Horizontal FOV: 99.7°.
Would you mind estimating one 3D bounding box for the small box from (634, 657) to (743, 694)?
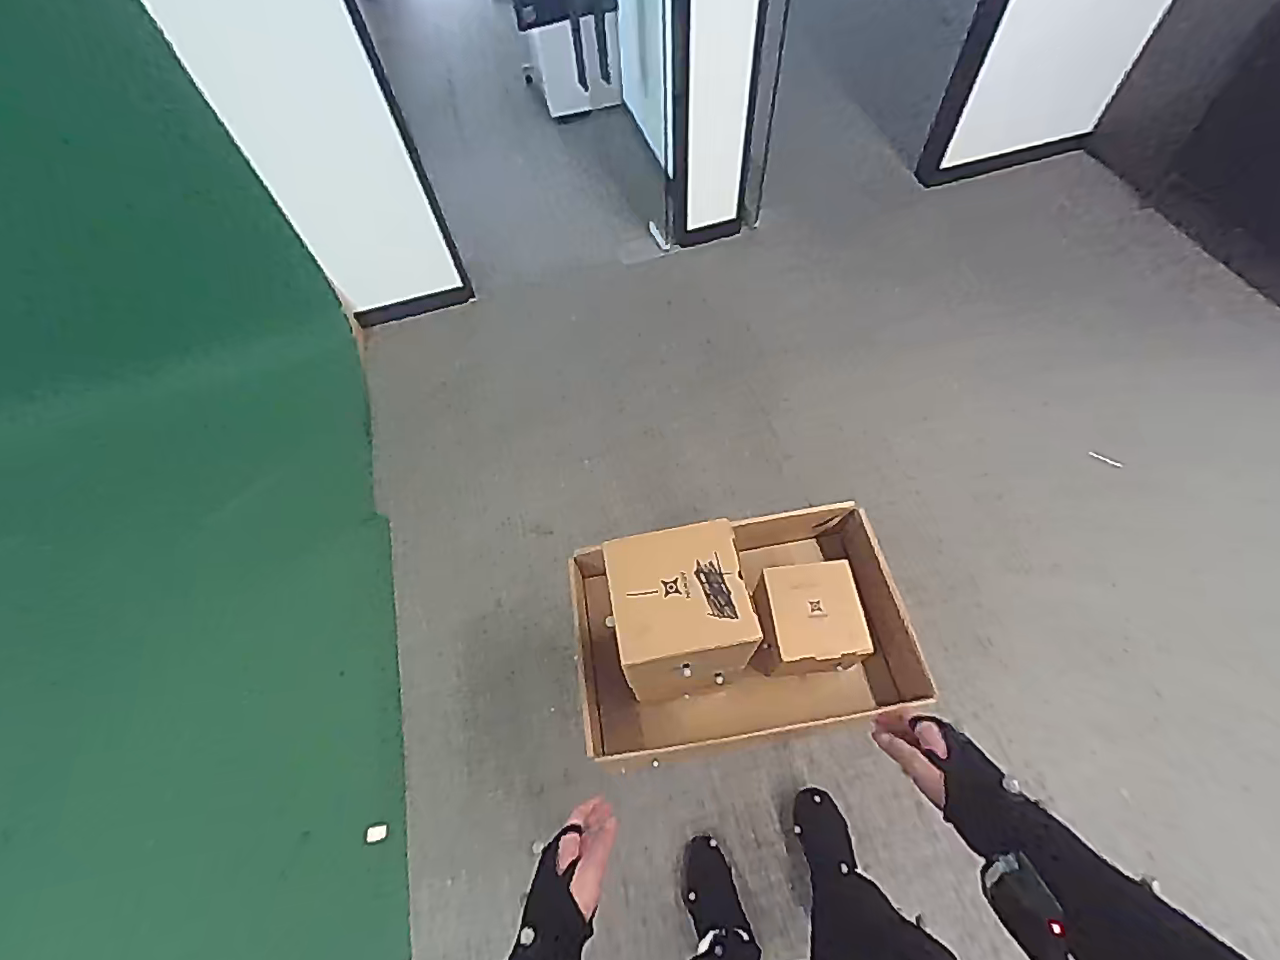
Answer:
[{"bbox_3d":[0.064,0.254,0.909,0.179,0.176,0.168,-9,61,-1],"label":"small box"}]

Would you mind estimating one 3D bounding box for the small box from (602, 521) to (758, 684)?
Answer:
[{"bbox_3d":[0.052,0.179,0.763,0.179,0.176,0.168,-11,60,-1],"label":"small box"}]
